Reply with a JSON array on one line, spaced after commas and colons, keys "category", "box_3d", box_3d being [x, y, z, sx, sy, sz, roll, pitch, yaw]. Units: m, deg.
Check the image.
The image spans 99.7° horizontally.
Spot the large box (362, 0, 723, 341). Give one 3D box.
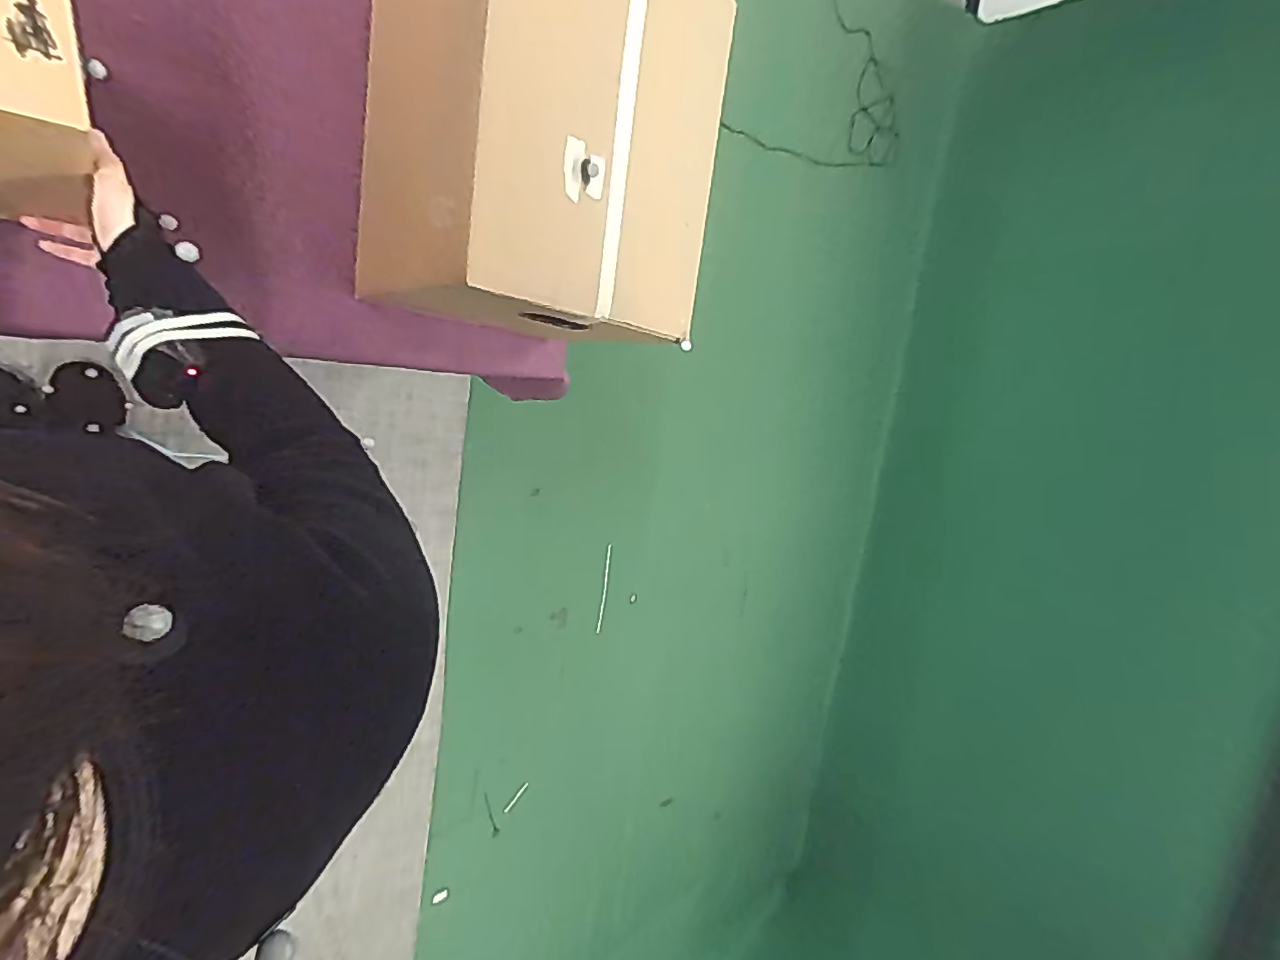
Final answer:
[{"category": "large box", "box_3d": [-0.132, -0.407, 0.684, 0.320, 0.320, 0.408, -1, 102, -45]}]
